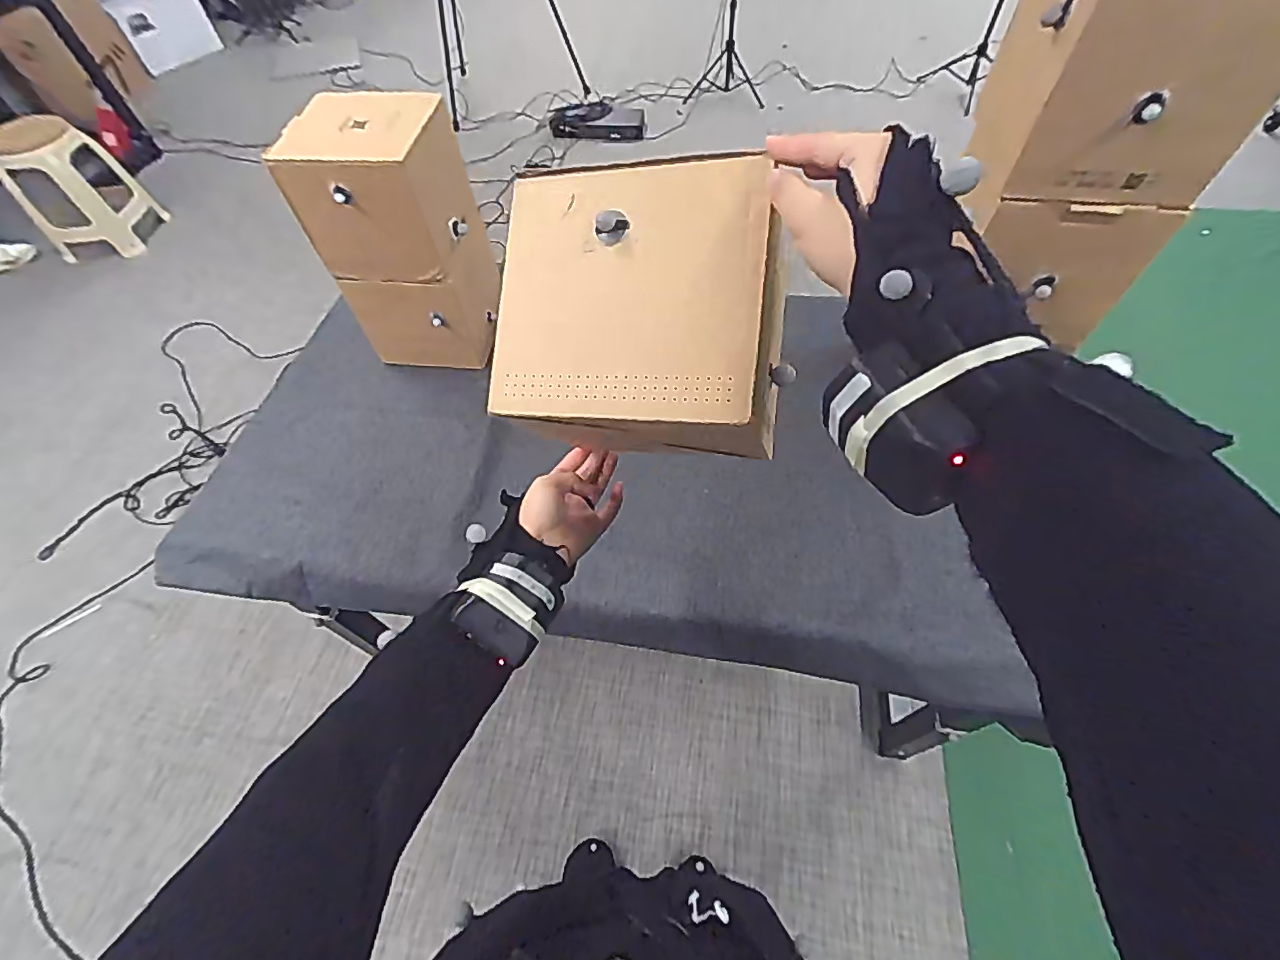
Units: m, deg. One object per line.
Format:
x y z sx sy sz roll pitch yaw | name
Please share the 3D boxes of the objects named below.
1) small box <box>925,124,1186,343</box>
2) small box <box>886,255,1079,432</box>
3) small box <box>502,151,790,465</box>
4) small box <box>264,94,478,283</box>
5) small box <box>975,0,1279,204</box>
0.444 -0.279 0.617 0.168 0.176 0.179 9 59 9 | small box
0.456 -0.193 0.756 0.168 0.176 0.179 9 58 9 | small box
0.015 -0.109 0.412 0.179 0.168 0.176 6 86 18 | small box
-0.342 -0.388 0.730 0.179 0.176 0.168 4 59 4 | small box
0.429 -0.371 0.480 0.168 0.176 0.179 8 58 8 | small box
